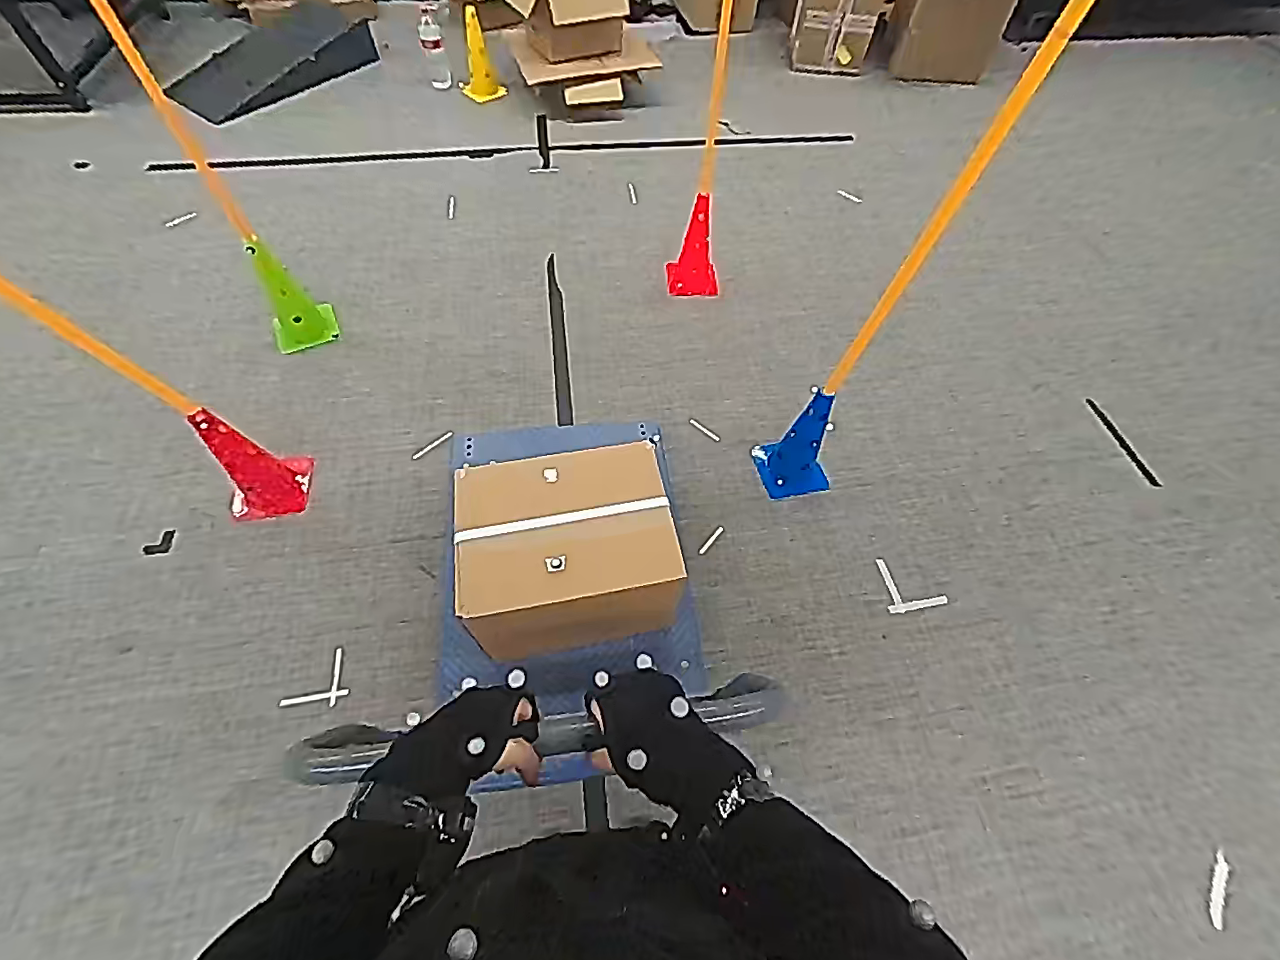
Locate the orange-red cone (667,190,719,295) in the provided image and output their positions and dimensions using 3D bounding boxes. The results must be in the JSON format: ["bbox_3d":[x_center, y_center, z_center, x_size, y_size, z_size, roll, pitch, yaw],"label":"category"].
[{"bbox_3d":[0.217,-0.889,1.997,0.199,0.360,0.198,0,59,-4],"label":"orange-red cone"}]

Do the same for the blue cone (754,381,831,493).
[{"bbox_3d":[0.476,-0.135,1.555,0.193,0.380,0.192,-9,58,-9],"label":"blue cone"}]
